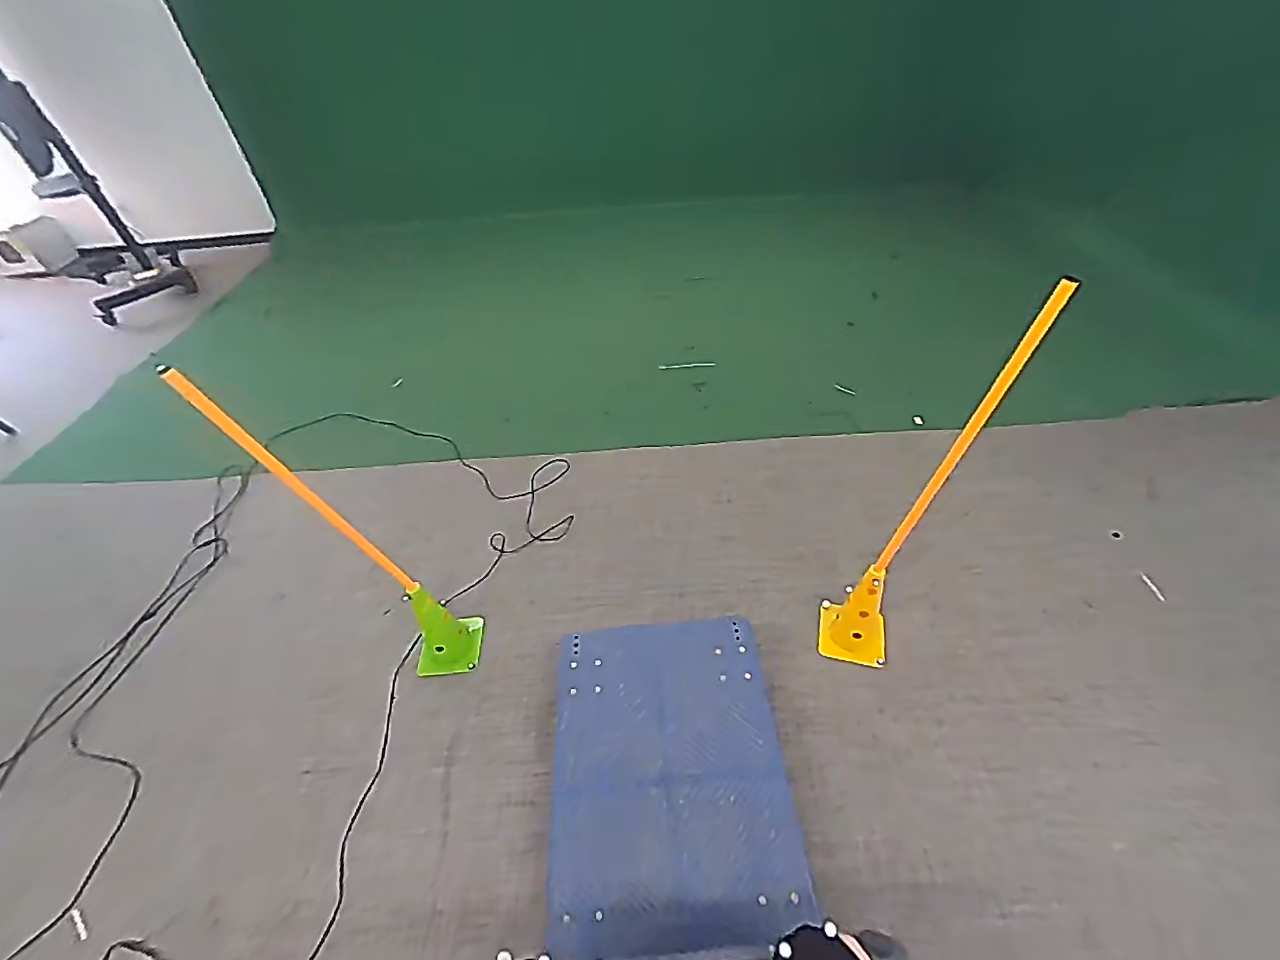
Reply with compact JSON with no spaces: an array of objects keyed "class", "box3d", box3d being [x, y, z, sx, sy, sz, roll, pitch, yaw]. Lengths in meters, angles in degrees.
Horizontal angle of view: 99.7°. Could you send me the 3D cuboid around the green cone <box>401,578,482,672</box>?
[{"class":"green cone","box3d":[-0.656,0.424,1.705,0.202,0.368,0.200,-7,45,1]}]
